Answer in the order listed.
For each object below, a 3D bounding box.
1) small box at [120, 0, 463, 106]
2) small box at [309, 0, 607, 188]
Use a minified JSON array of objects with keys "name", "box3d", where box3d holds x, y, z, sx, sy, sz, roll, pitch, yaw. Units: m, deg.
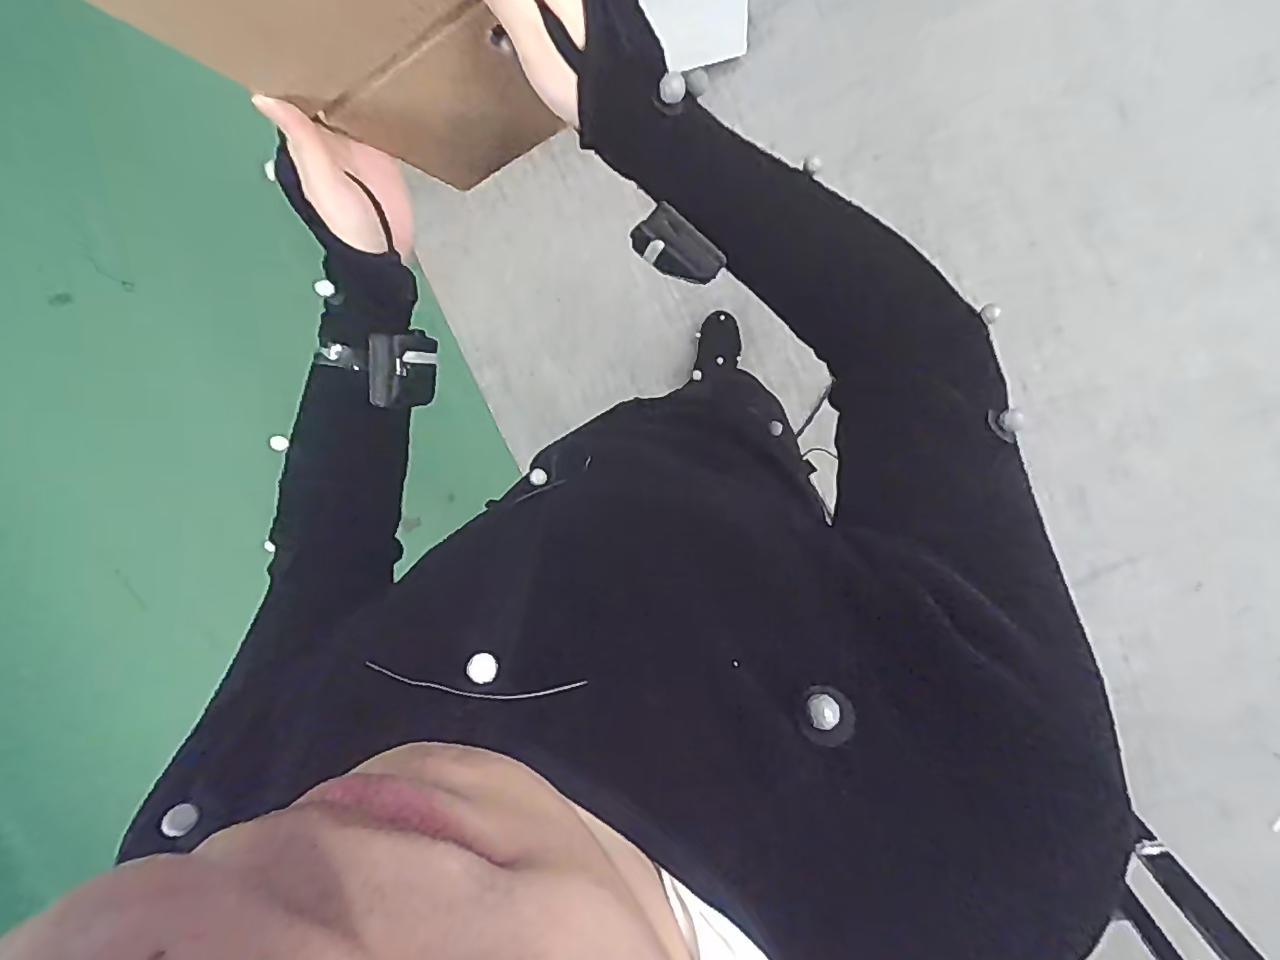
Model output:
[{"name":"small box","box3d":[-0.194,-0.323,0.246,0.179,0.176,0.168,-21,96,17]},{"name":"small box","box3d":[-0.150,-0.358,0.408,0.179,0.176,0.168,-21,95,17]}]
